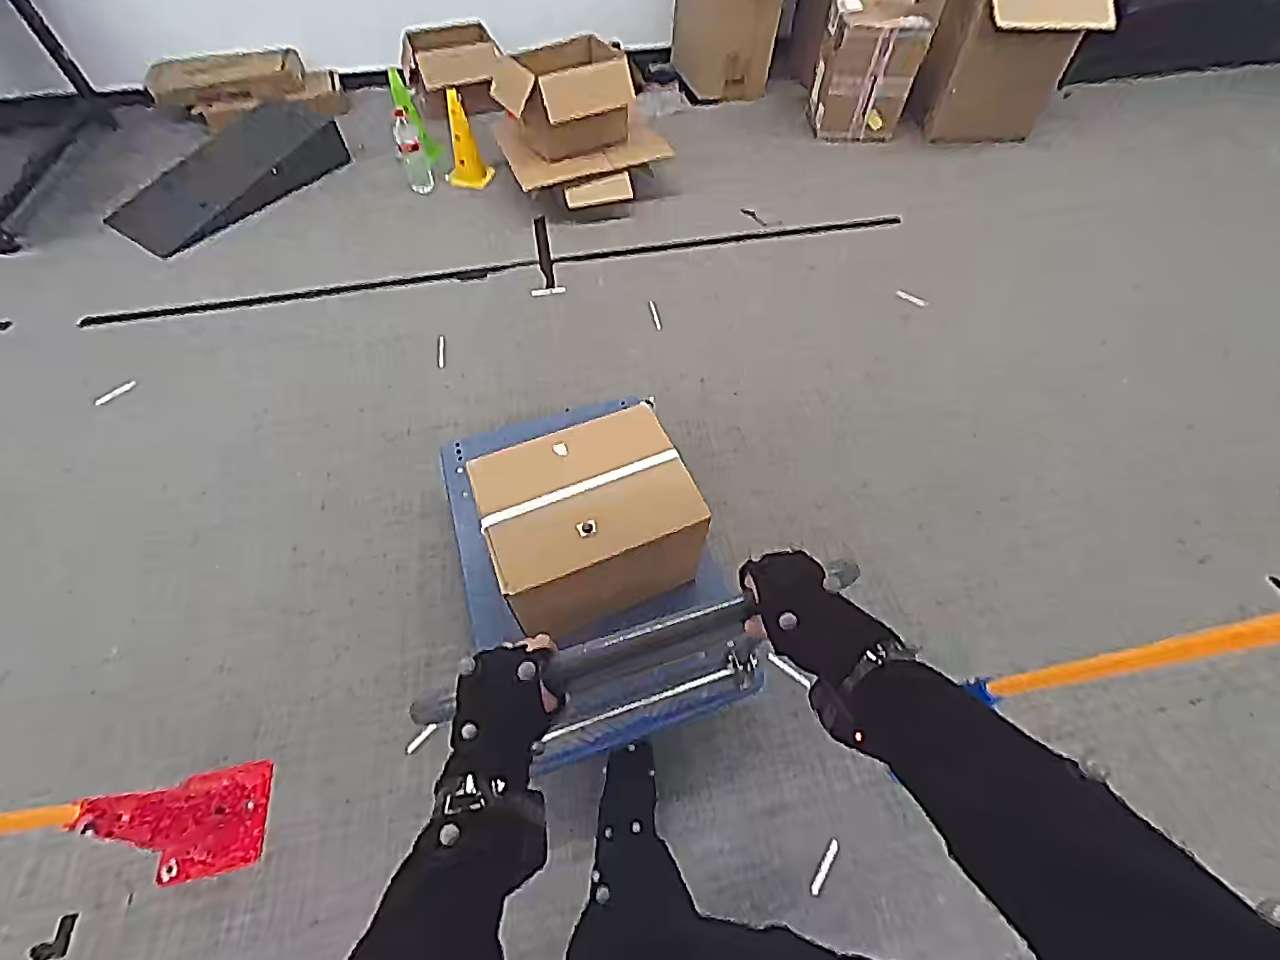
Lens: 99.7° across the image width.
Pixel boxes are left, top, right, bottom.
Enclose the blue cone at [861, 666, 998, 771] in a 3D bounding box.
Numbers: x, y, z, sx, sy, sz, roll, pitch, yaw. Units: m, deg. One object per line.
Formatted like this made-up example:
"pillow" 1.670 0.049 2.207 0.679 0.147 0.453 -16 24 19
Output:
"blue cone" 0.635 0.469 1.127 0.193 0.380 0.192 -12 56 -9
